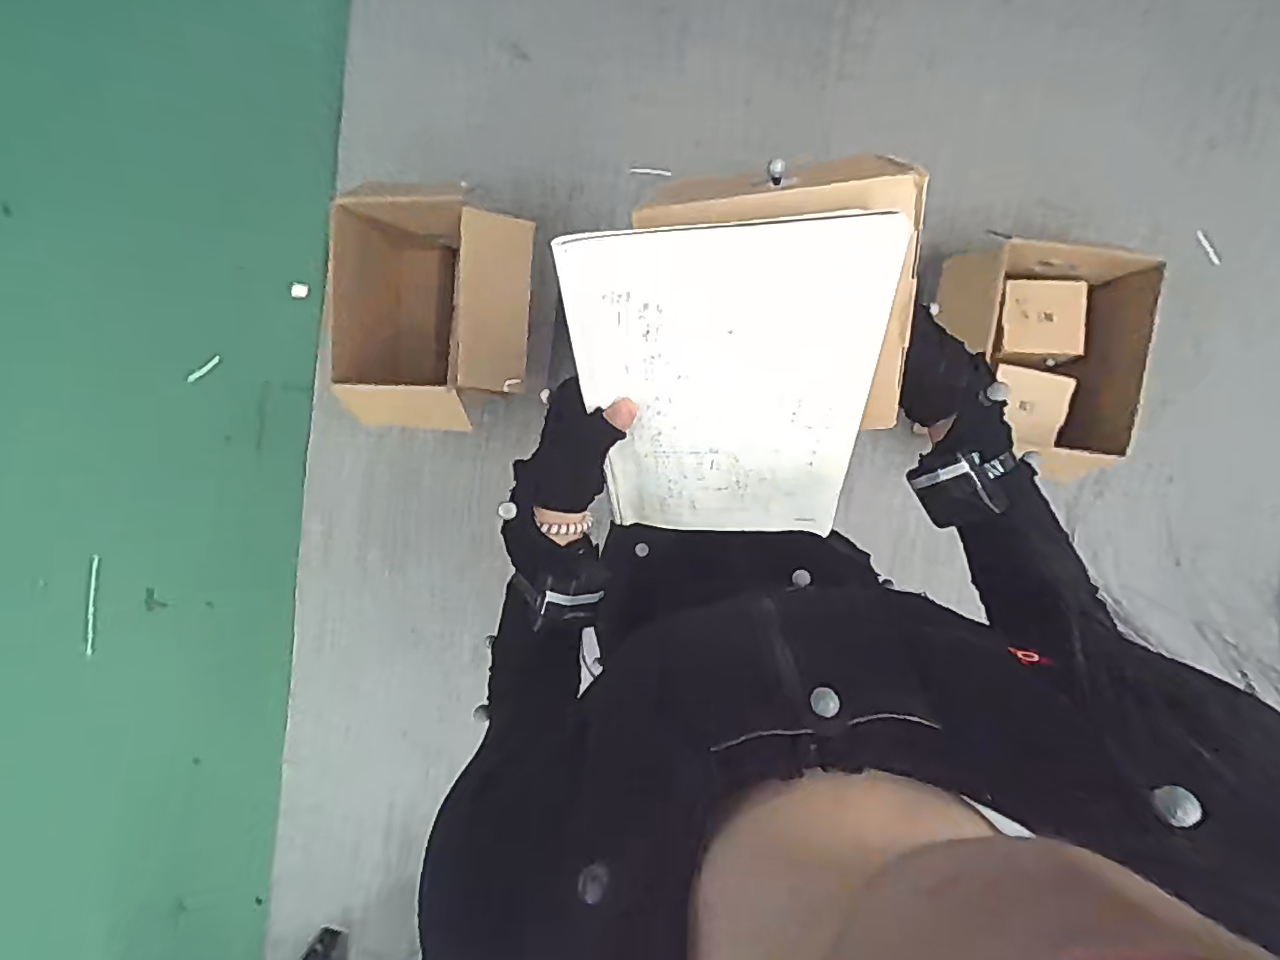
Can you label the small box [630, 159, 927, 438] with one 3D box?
[{"bbox_3d":[0.097,-0.148,0.428,0.179,0.176,0.168,-2,122,11],"label":"small box"}]
